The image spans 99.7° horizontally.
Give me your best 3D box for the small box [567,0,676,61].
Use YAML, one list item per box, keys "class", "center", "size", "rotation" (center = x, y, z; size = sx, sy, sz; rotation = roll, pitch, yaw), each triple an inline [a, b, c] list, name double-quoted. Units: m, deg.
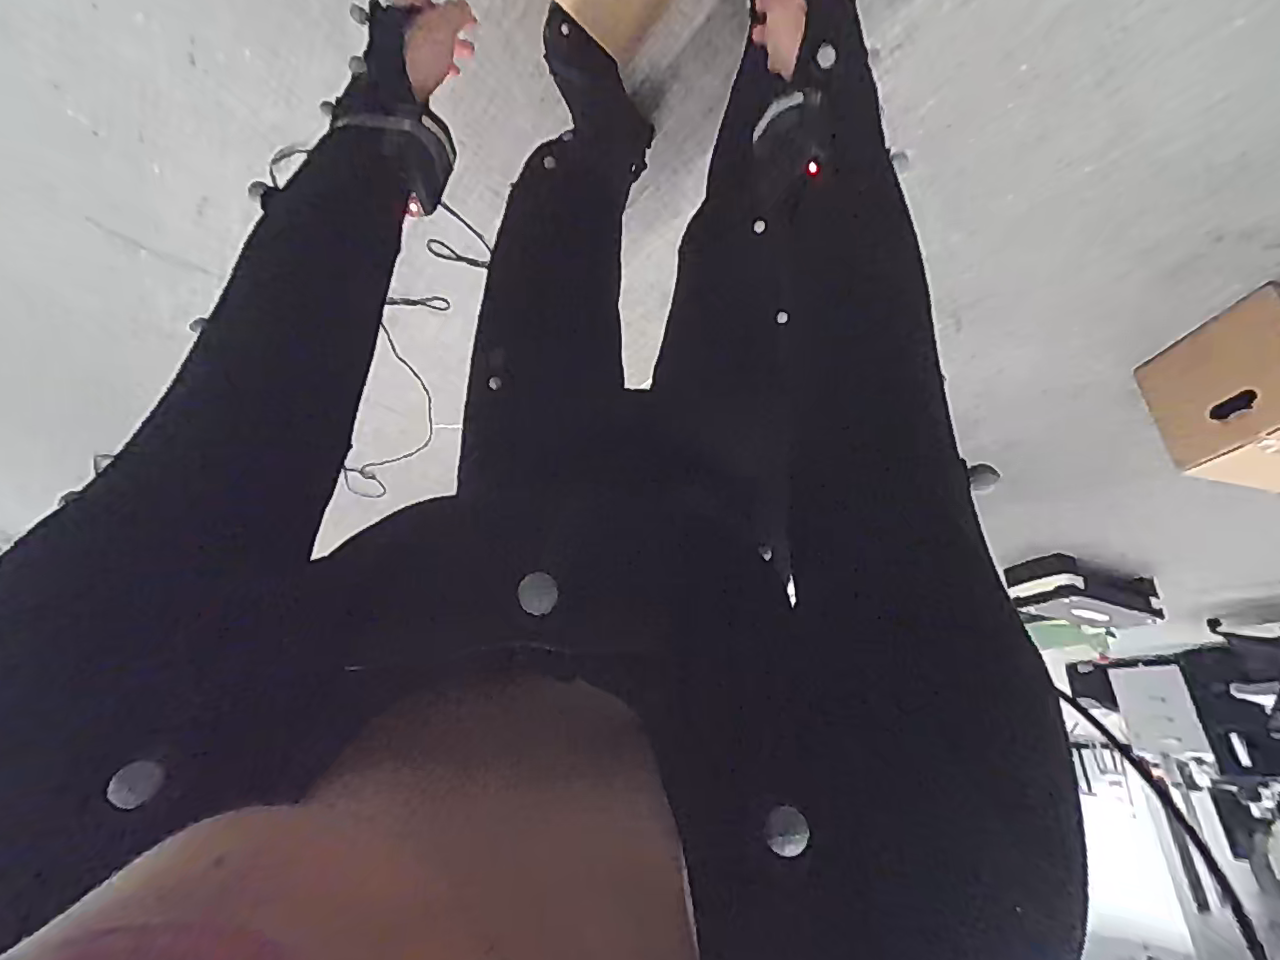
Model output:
- class: "small box"
  center: [-0.012, -0.603, 0.552]
  size: [0.168, 0.176, 0.179]
  rotation: [26, 146, -32]
